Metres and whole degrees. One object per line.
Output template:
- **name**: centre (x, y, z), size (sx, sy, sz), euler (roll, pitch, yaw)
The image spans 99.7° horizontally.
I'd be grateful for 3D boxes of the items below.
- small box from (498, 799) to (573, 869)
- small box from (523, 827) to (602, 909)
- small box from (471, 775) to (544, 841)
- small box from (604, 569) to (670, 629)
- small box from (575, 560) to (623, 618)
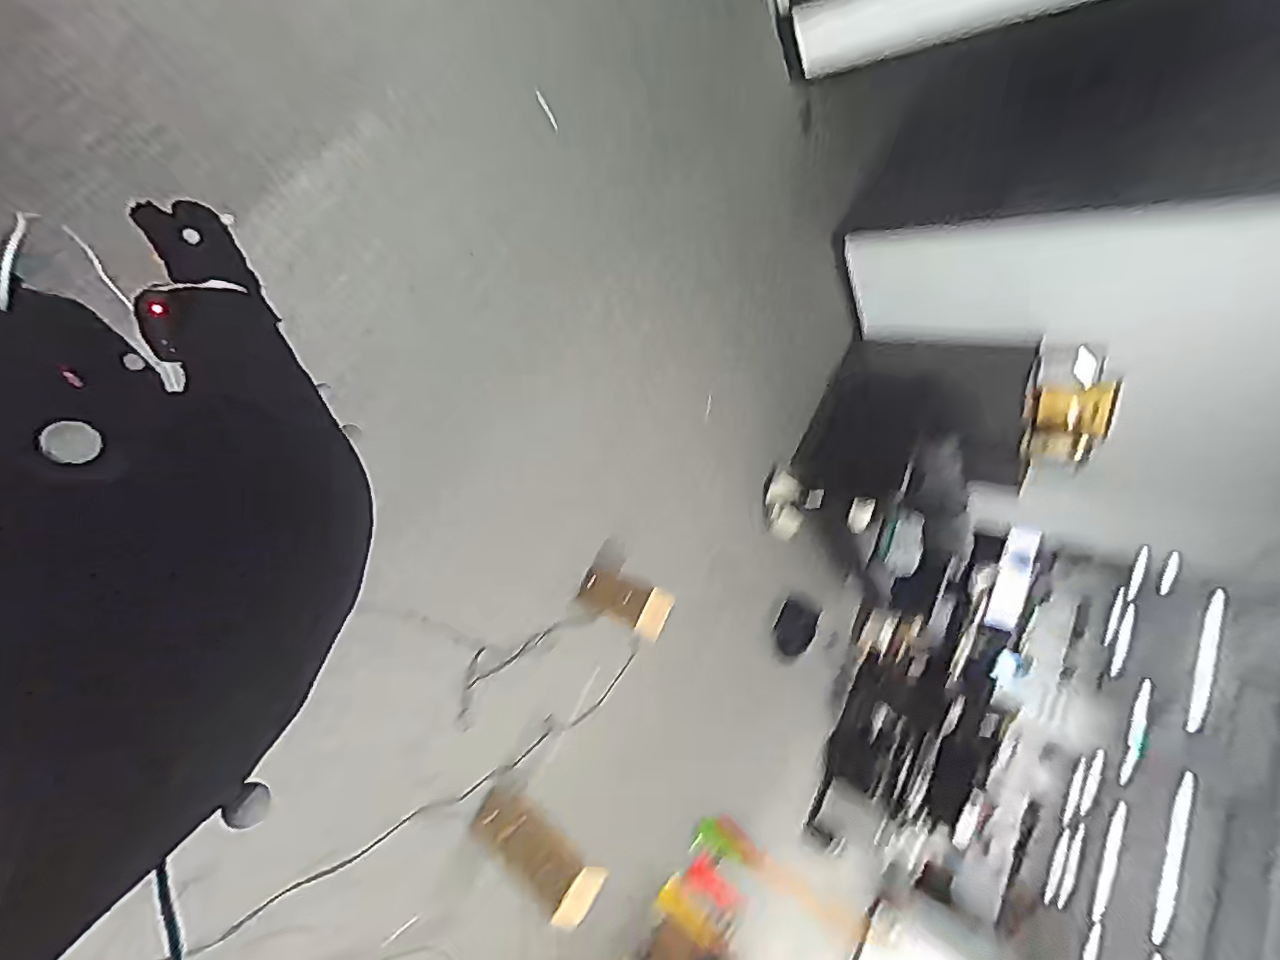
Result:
- **small box**: centre (-0.388, 1.310, 1.992), size (0.168, 0.176, 0.179), euler (-59, 140, -18)
- **small box**: centre (-0.271, 1.349, 1.887), size (0.168, 0.176, 0.179), euler (-56, 137, -22)
- **small box**: centre (-0.515, 1.270, 2.090), size (0.168, 0.176, 0.179), euler (-60, 138, -18)
- **small box**: centre (-0.014, 0.476, 2.175), size (0.179, 0.176, 0.168), euler (44, 68, -47)
- **small box**: centre (-0.140, 0.454, 2.278), size (0.179, 0.176, 0.168), euler (44, 67, -47)
